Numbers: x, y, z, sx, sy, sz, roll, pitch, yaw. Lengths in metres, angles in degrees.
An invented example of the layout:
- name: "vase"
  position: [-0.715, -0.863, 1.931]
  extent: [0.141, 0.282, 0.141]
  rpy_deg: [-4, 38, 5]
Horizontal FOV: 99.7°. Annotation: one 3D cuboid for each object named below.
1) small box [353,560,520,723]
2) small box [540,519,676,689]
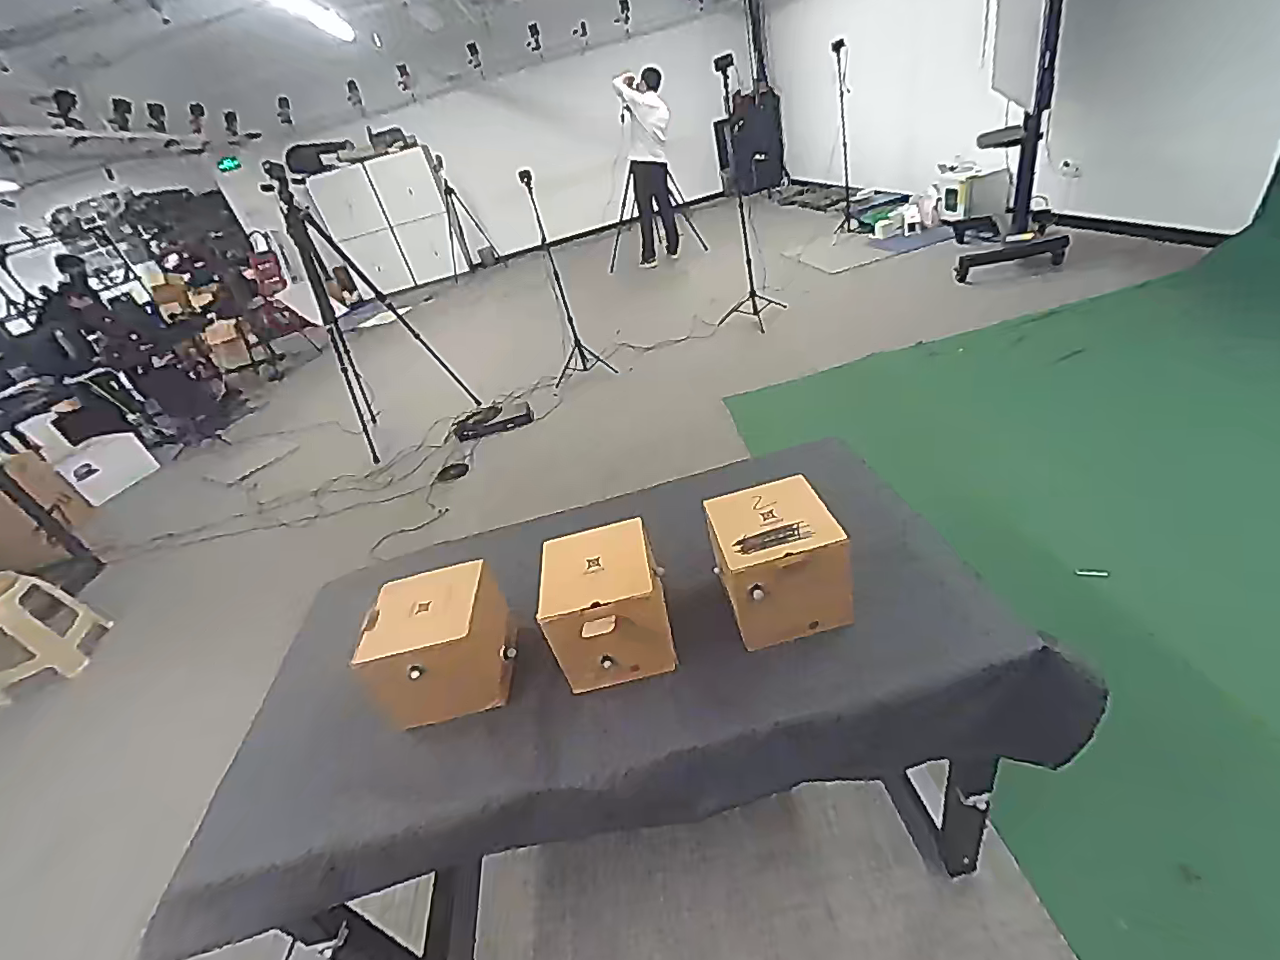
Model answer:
- name: "small box"
  position: [-0.309, 0.259, 0.862]
  extent: [0.179, 0.176, 0.168]
  rpy_deg: [-14, 34, 2]
- name: "small box"
  position: [-0.048, 0.193, 0.848]
  extent: [0.168, 0.176, 0.179]
  rpy_deg: [-14, 33, 2]
